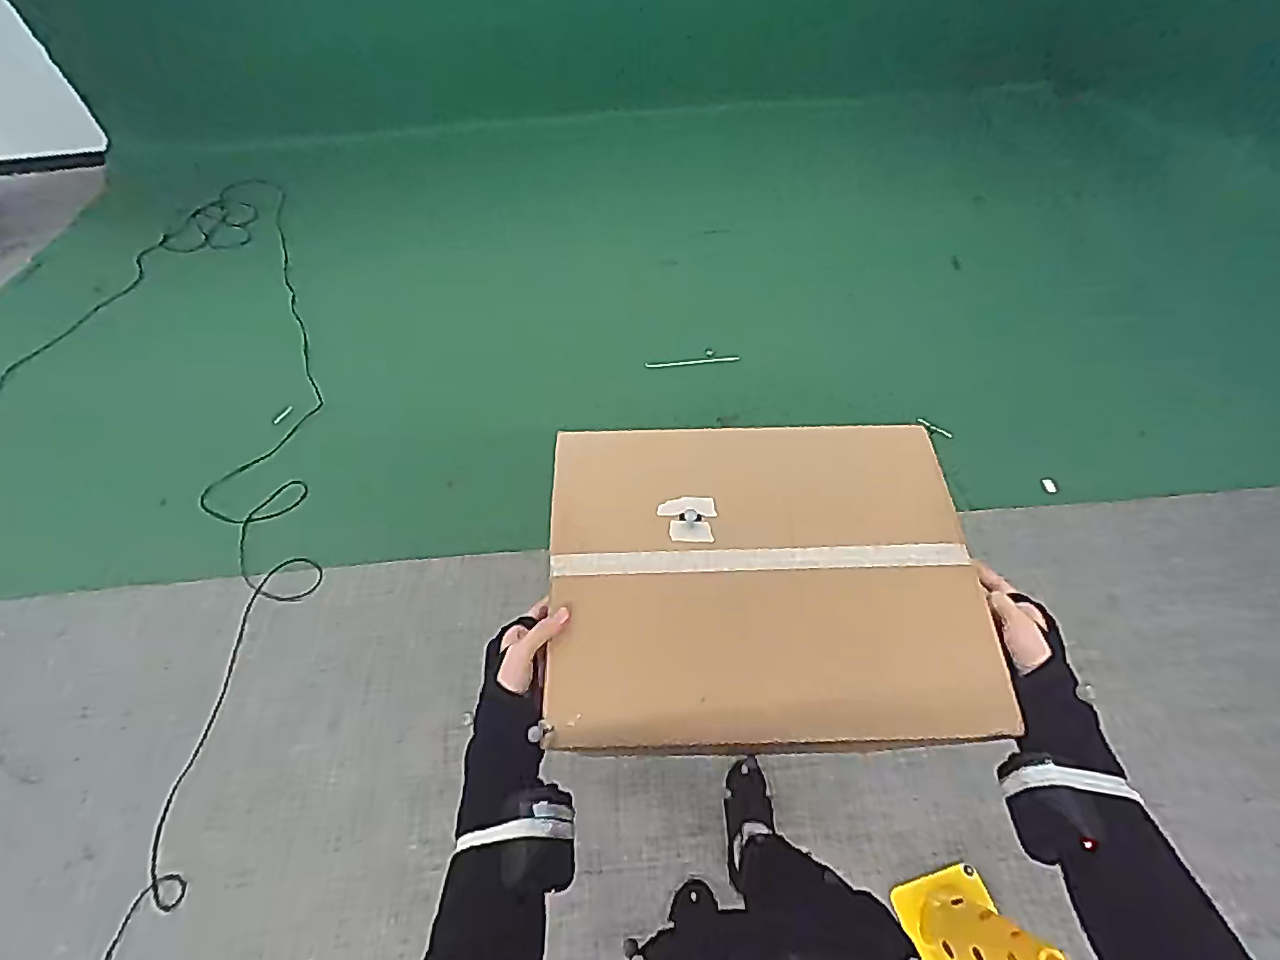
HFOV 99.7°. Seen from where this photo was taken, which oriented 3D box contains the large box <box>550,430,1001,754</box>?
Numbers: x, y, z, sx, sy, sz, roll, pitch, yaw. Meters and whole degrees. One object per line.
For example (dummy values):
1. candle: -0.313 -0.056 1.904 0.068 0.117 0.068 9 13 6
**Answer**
1. large box: 0.118 0.157 0.670 0.408 0.320 0.320 -2 61 0
